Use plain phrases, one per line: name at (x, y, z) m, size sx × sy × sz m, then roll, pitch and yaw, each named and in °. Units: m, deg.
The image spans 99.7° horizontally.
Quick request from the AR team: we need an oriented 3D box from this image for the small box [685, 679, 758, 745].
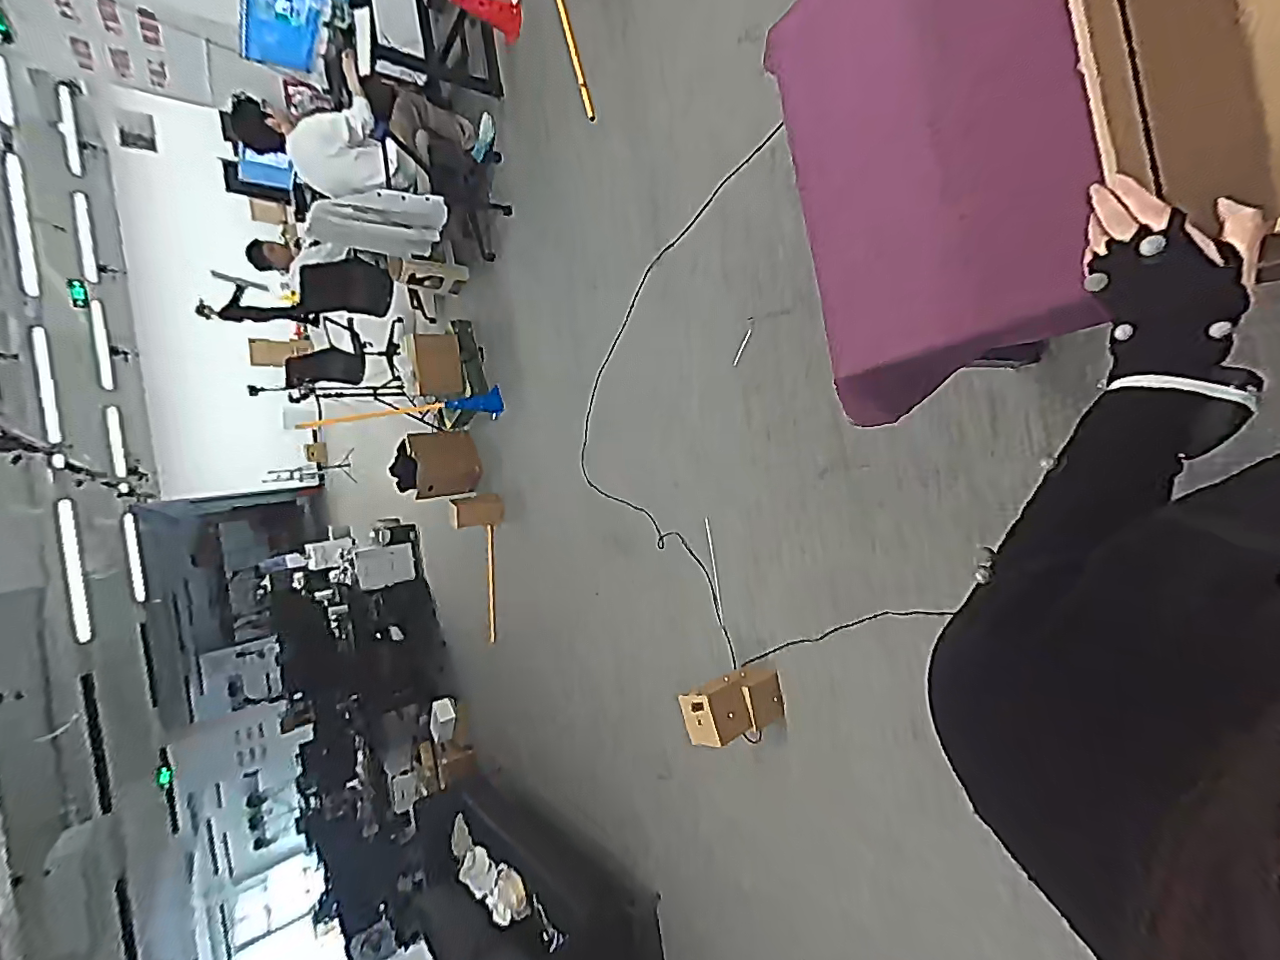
small box at (0.298, 0.834, 1.962) m, size 0.168 × 0.176 × 0.179 m, roll -29°, pitch 74°, yaw 52°
